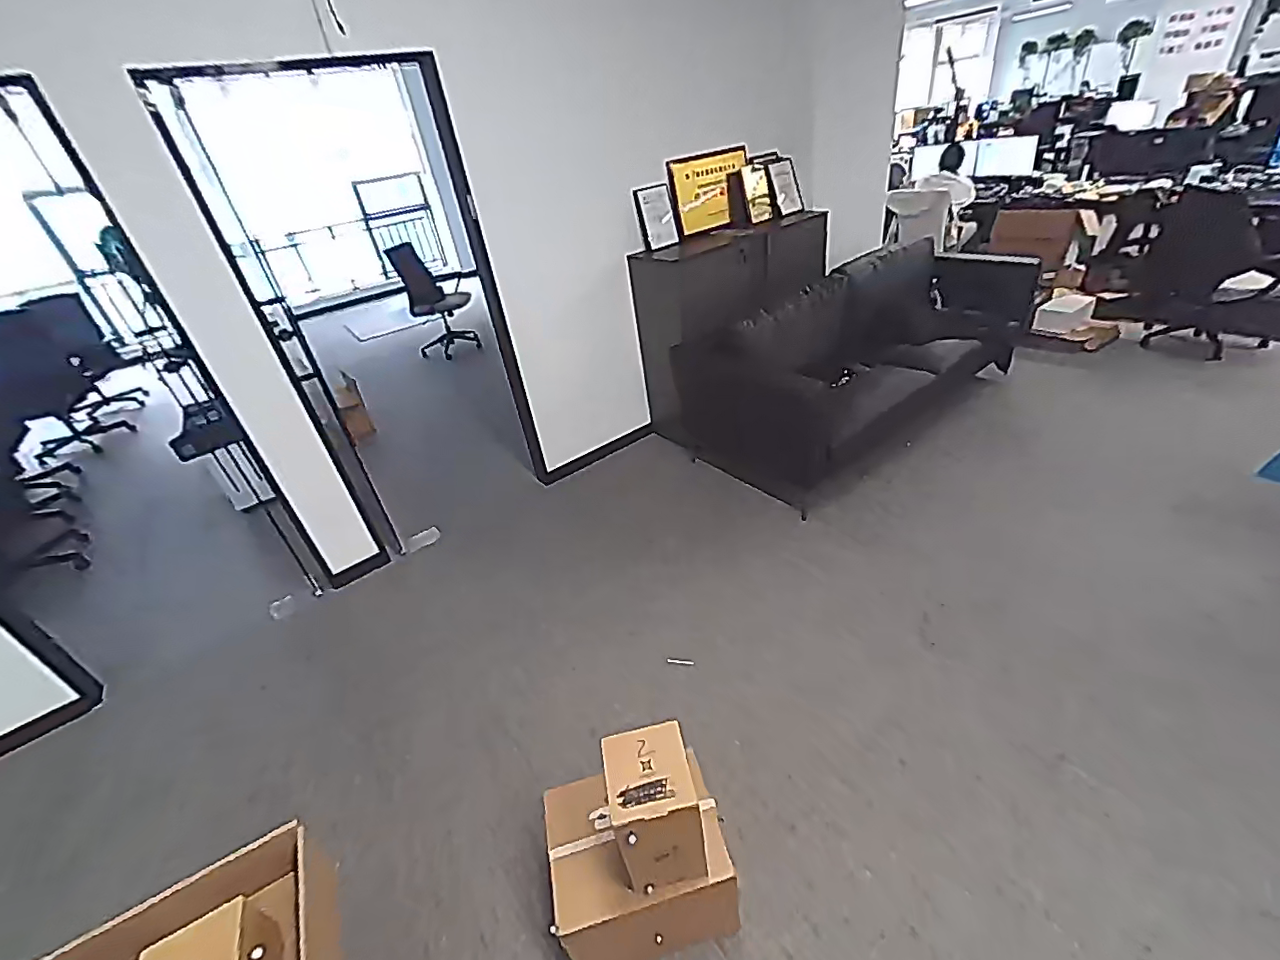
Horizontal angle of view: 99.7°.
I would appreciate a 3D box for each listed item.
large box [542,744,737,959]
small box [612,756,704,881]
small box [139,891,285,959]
[{"bbox_3d":[-0.002,0.948,1.364,0.408,0.320,0.320,-14,33,-7],"label":"large box"},{"bbox_3d":[0.041,0.754,1.198,0.168,0.176,0.179,-11,34,-4],"label":"small box"},{"bbox_3d":[-0.764,0.902,0.968,0.168,0.176,0.179,-23,37,-20],"label":"small box"}]
